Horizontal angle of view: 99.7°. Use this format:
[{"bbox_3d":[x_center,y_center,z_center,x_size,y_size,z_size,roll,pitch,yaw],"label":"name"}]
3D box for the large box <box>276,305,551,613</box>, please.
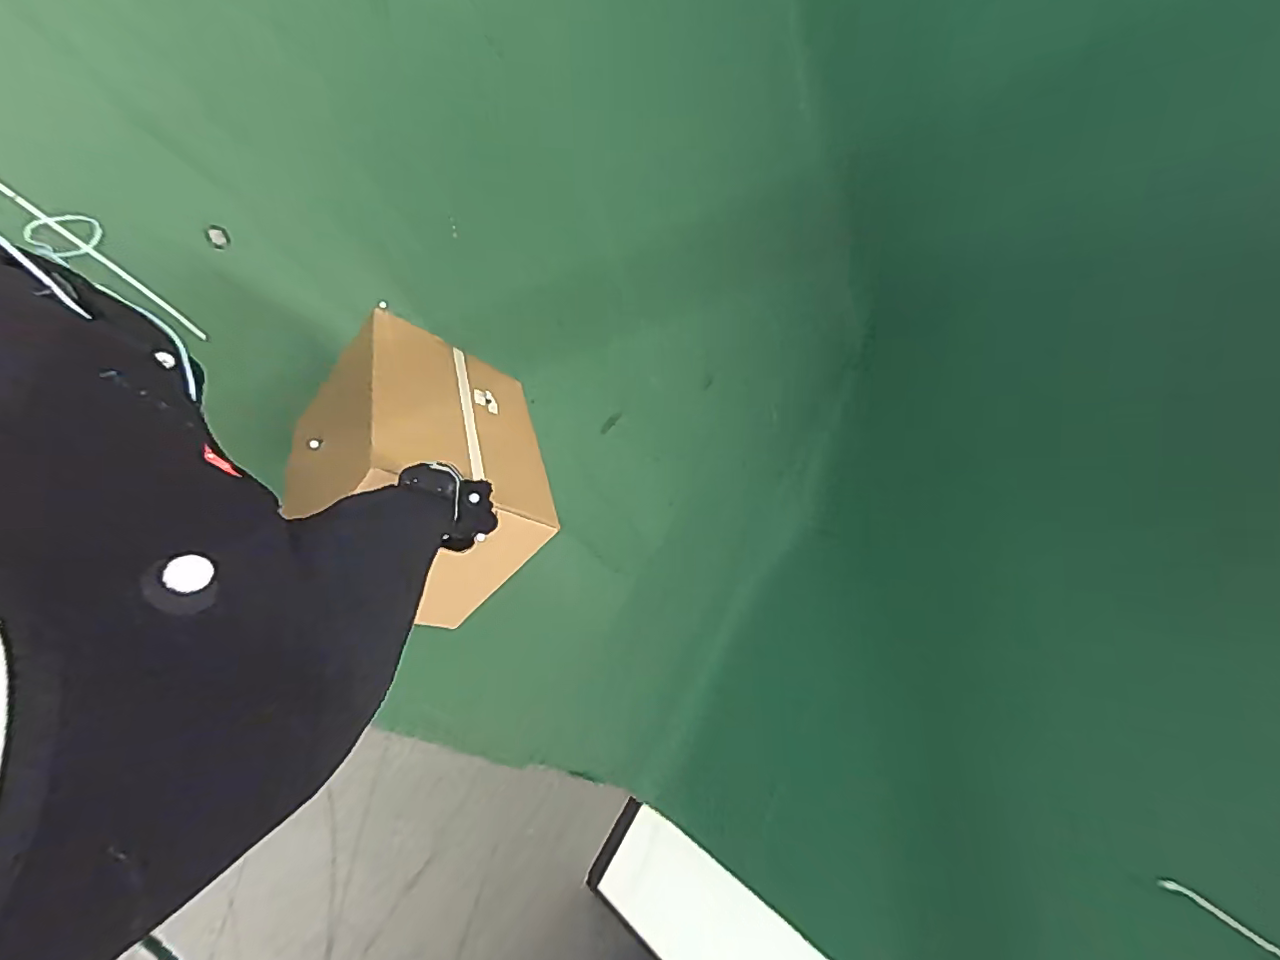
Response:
[{"bbox_3d":[-0.412,-0.023,0.974,0.320,0.408,0.320,-42,138,21],"label":"large box"}]
